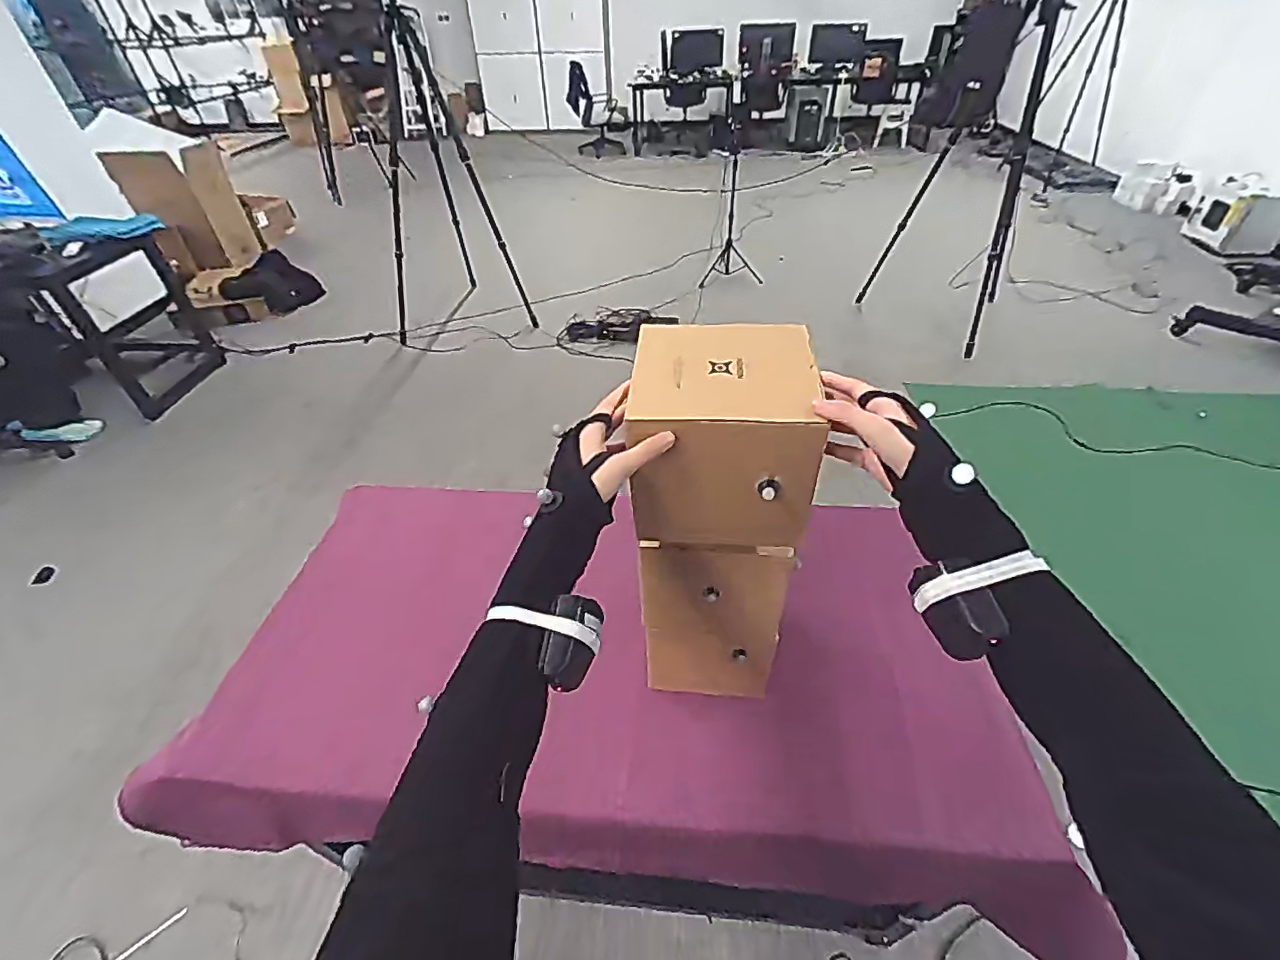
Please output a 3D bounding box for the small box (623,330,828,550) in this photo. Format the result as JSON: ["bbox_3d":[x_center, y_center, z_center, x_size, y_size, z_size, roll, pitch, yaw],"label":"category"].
[{"bbox_3d":[0.084,-0.040,0.569,0.179,0.176,0.168,1,44,7],"label":"small box"}]

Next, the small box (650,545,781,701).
[{"bbox_3d":[0.110,0.218,0.826,0.179,0.176,0.168,3,41,6],"label":"small box"}]
